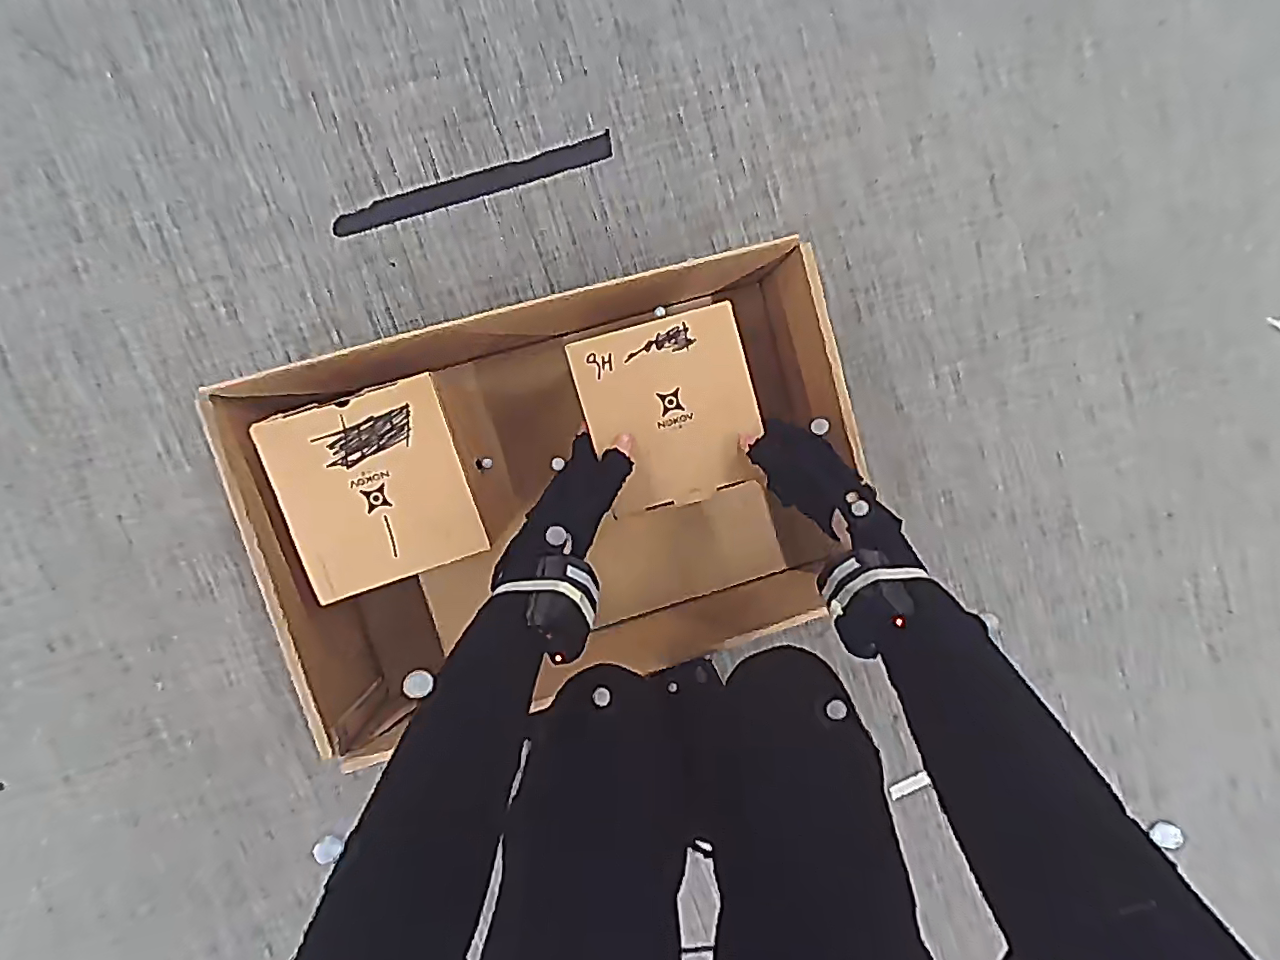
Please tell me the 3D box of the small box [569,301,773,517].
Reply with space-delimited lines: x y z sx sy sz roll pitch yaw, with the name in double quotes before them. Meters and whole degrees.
"small box" 0.027 -0.075 0.596 0.168 0.176 0.179 -16 96 -4
